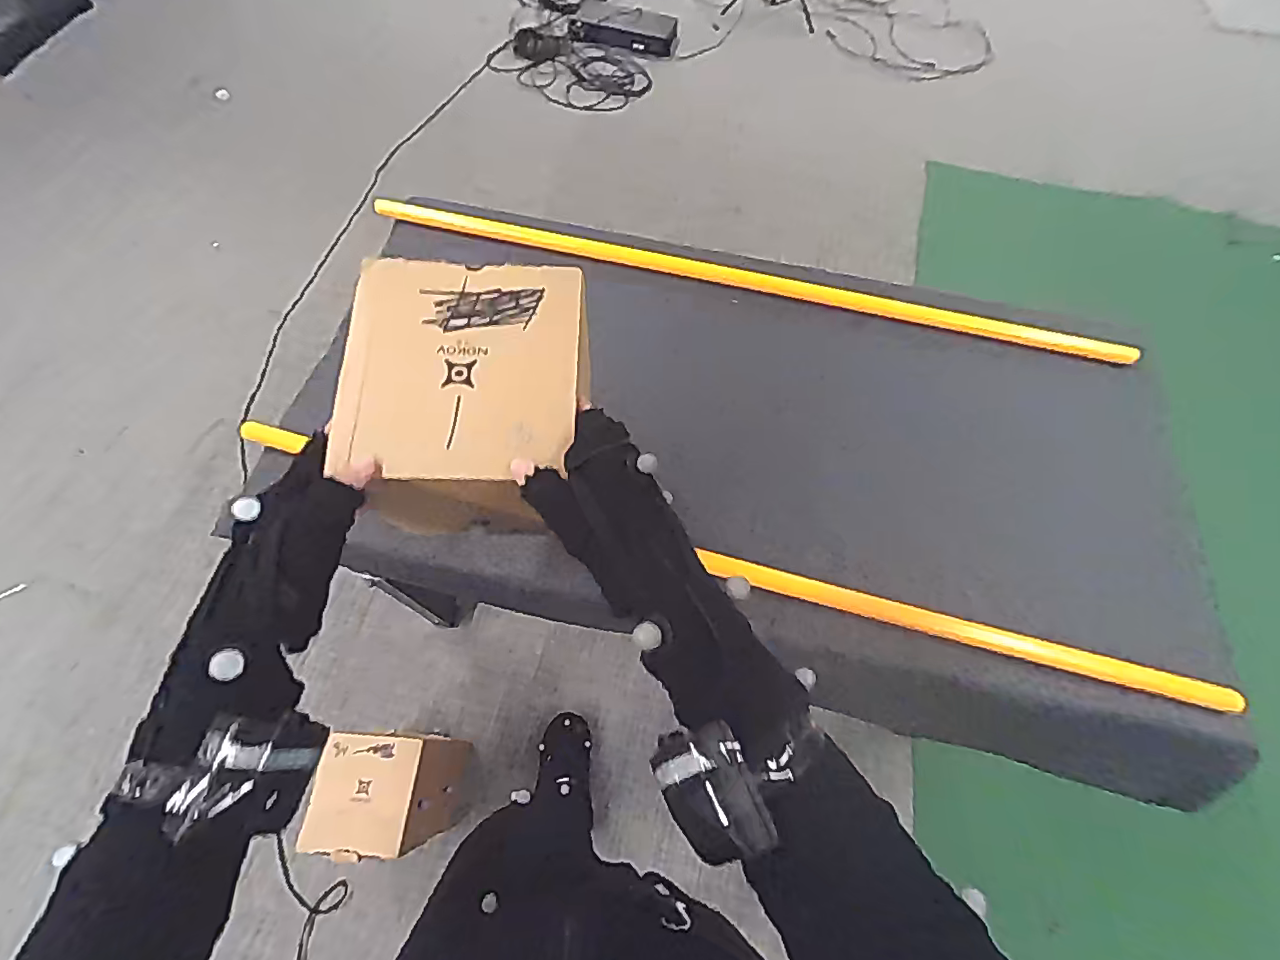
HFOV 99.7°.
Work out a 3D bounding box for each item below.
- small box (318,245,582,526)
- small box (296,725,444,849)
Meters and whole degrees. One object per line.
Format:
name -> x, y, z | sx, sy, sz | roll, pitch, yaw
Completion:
small box -> -0.137, -0.068, 0.464 | 0.168, 0.176, 0.179 | 2, 72, -3
small box -> -0.468, 0.540, 0.969 | 0.168, 0.176, 0.179 | 2, 64, 0
